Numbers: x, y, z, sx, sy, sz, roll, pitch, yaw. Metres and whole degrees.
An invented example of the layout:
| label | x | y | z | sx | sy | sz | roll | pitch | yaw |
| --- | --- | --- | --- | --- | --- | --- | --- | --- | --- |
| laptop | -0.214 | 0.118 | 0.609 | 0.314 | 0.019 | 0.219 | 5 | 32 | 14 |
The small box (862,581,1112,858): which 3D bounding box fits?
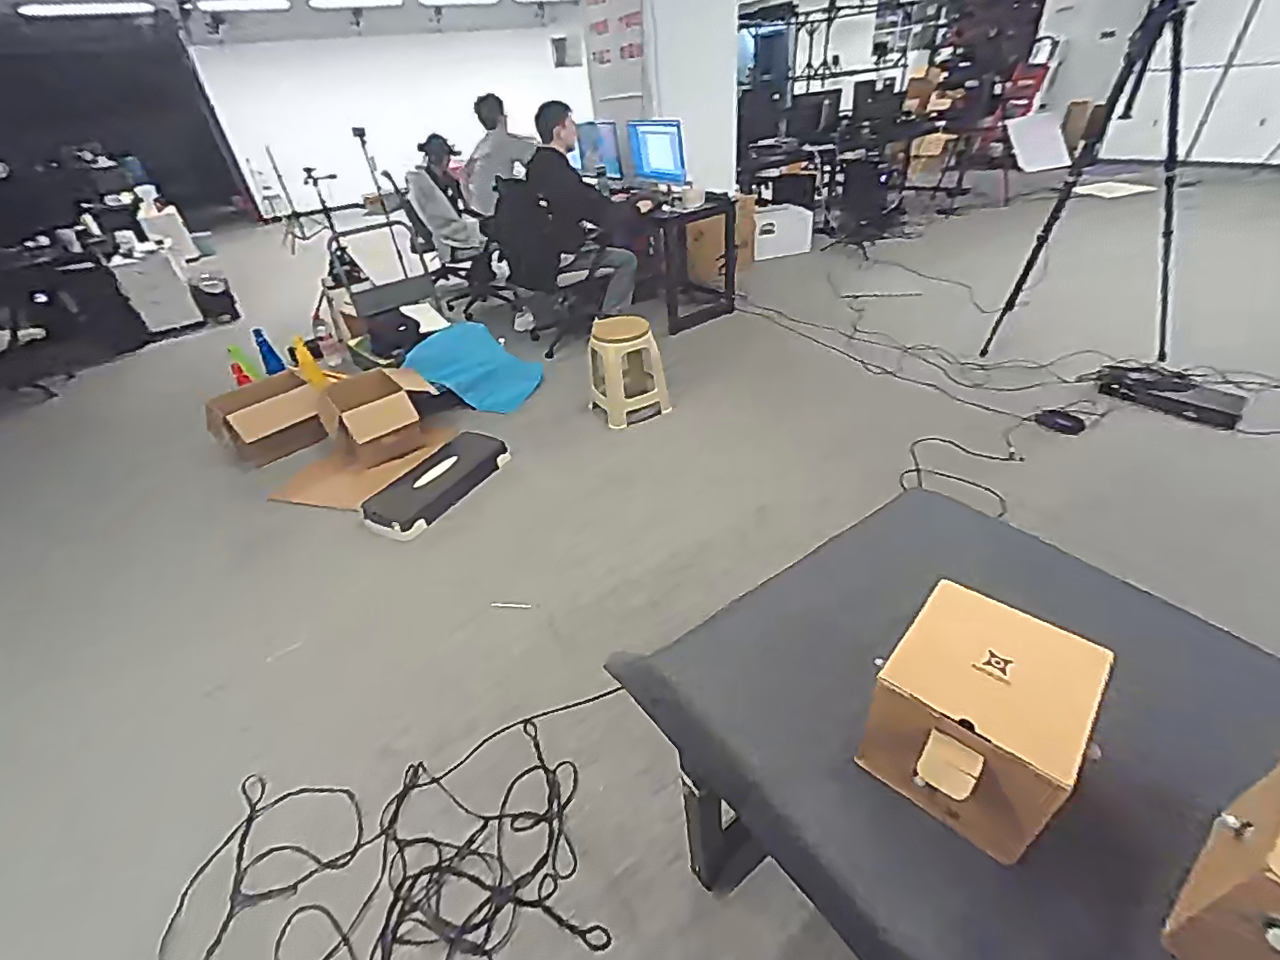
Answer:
| label | x | y | z | sx | sy | sz | roll | pitch | yaw |
| --- | --- | --- | --- | --- | --- | --- | --- | --- | --- |
| small box | 0.362 | 0.251 | 0.587 | 0.168 | 0.176 | 0.179 | 26 | 47 | 36 |
